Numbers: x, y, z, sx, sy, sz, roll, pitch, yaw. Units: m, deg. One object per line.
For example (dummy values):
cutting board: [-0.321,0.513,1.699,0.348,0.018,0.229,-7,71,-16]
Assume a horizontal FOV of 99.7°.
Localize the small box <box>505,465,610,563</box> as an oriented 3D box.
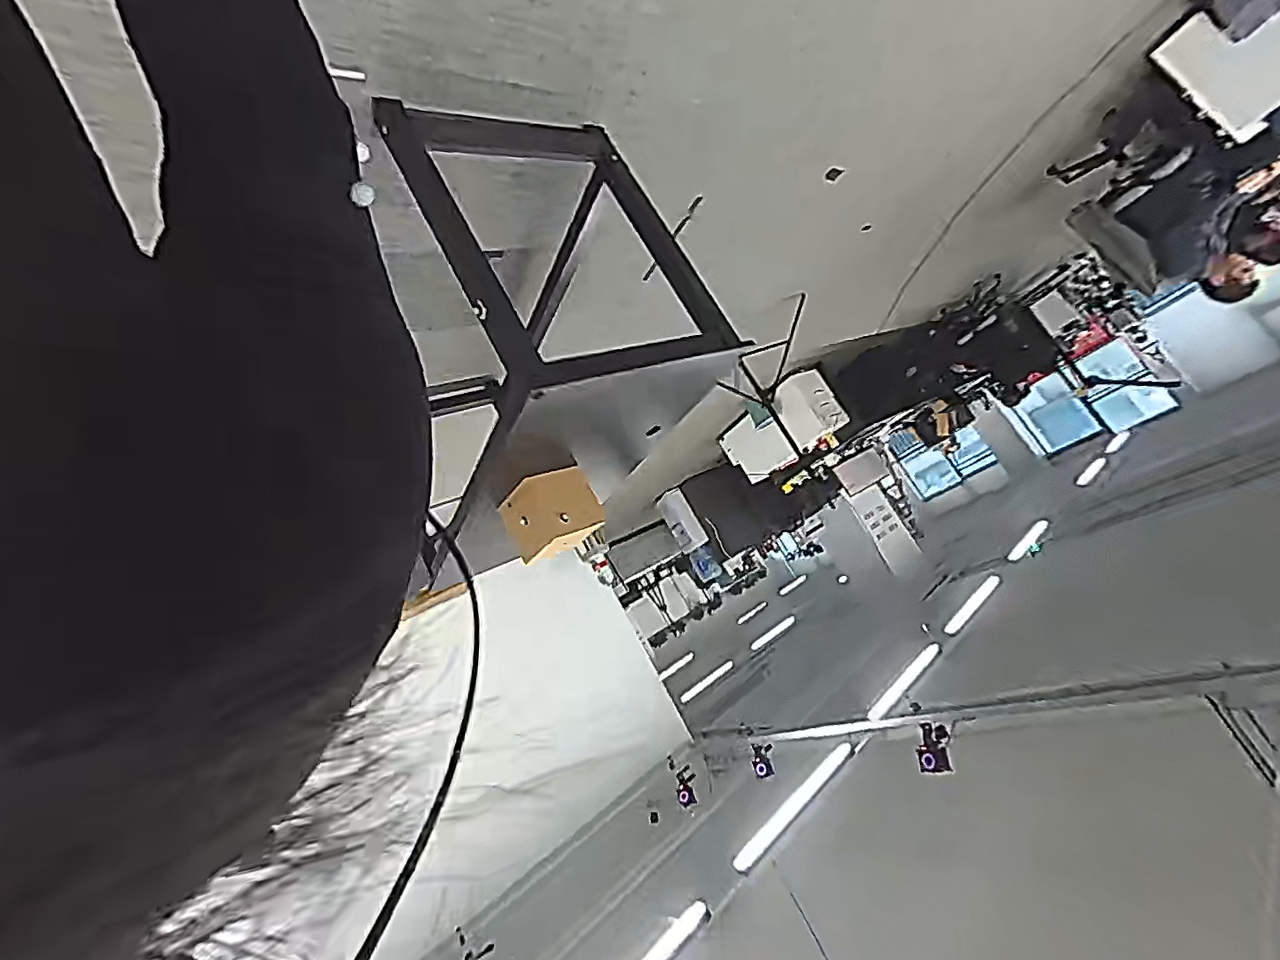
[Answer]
small box: [-0.216,0.082,1.380,0.179,0.176,0.168,-18,163,-47]
